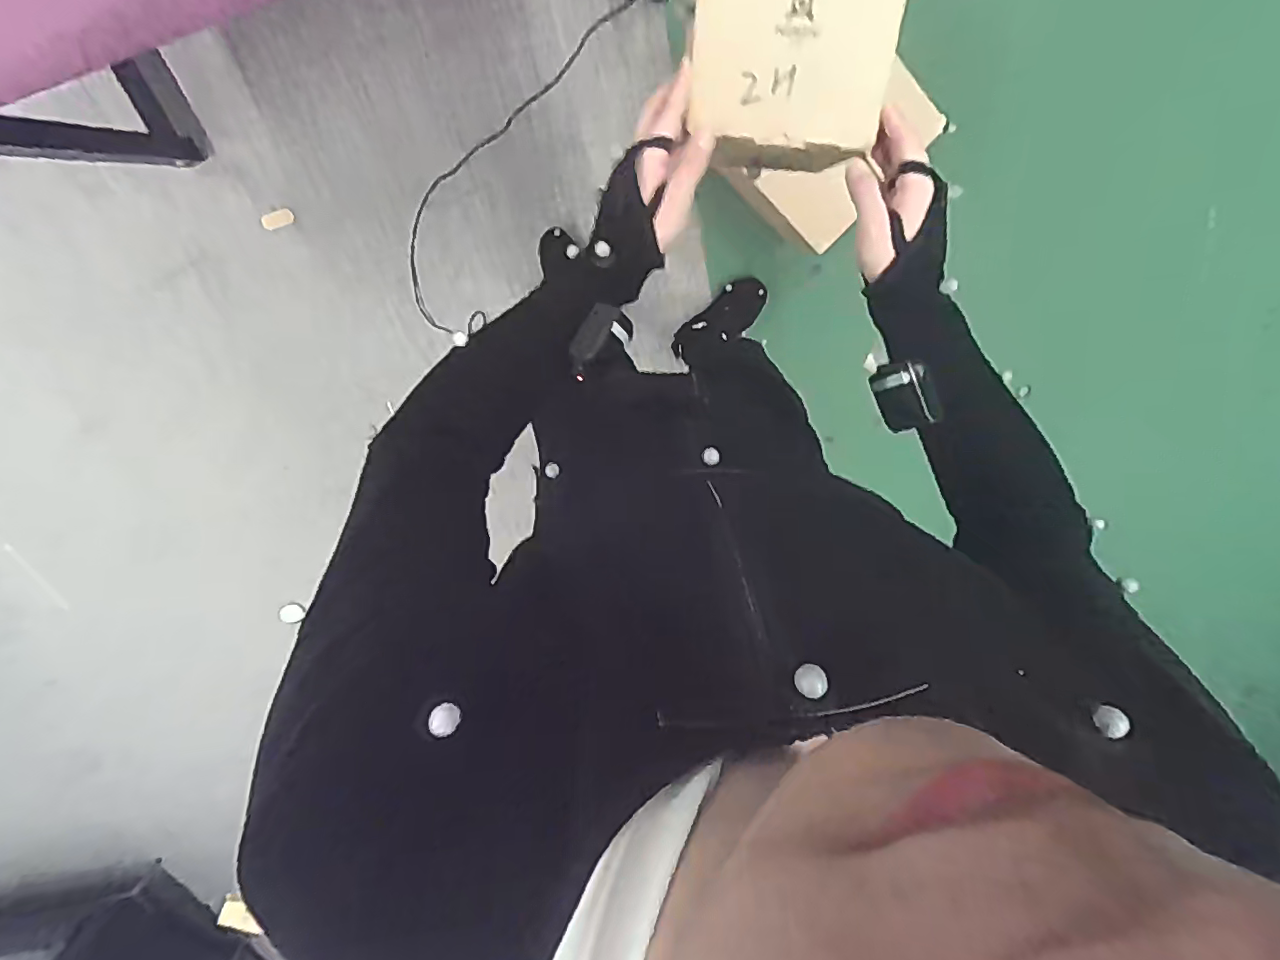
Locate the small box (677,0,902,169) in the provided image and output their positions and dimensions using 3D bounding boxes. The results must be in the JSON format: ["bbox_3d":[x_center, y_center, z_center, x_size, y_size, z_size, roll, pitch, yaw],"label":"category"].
[{"bbox_3d":[0.124,-0.403,0.497,0.168,0.176,0.179,5,114,0],"label":"small box"}]

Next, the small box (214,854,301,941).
[{"bbox_3d":[-1.287,1.409,1.830,0.168,0.176,0.179,28,115,-13],"label":"small box"}]
